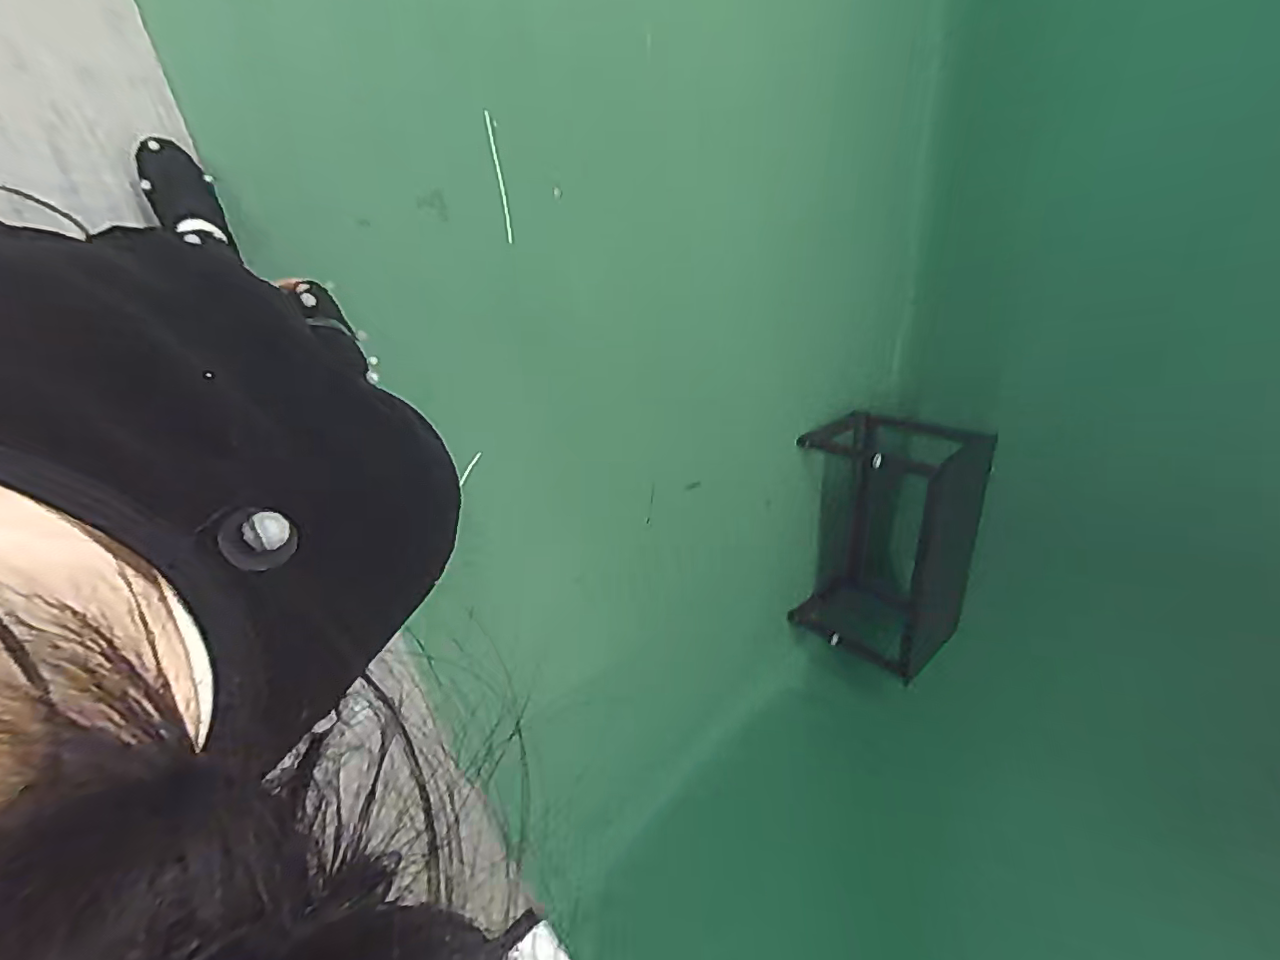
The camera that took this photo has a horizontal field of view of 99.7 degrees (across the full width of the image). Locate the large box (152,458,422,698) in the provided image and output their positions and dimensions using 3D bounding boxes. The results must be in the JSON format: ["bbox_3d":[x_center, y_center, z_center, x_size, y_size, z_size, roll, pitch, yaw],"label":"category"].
[{"bbox_3d":[-0.819,0.207,1.277,0.408,0.320,0.320,-40,130,-26],"label":"large box"}]
